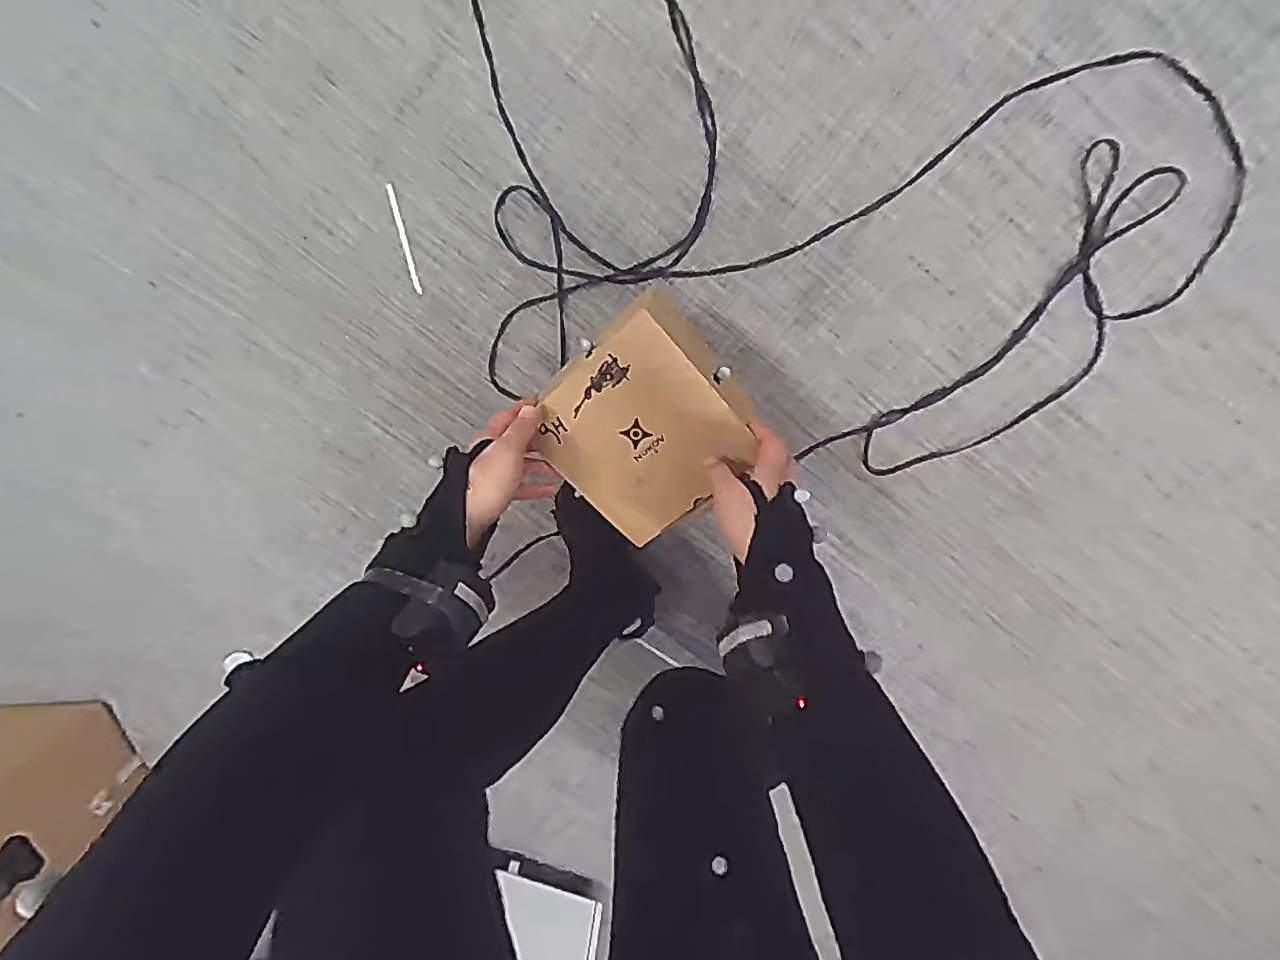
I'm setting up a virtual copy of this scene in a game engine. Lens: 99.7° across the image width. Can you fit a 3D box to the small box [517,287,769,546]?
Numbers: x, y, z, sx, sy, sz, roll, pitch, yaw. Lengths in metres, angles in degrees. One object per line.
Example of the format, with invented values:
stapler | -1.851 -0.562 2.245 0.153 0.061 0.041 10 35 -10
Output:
small box | 0.009 -0.073 0.559 0.168 0.176 0.179 -36 110 21
